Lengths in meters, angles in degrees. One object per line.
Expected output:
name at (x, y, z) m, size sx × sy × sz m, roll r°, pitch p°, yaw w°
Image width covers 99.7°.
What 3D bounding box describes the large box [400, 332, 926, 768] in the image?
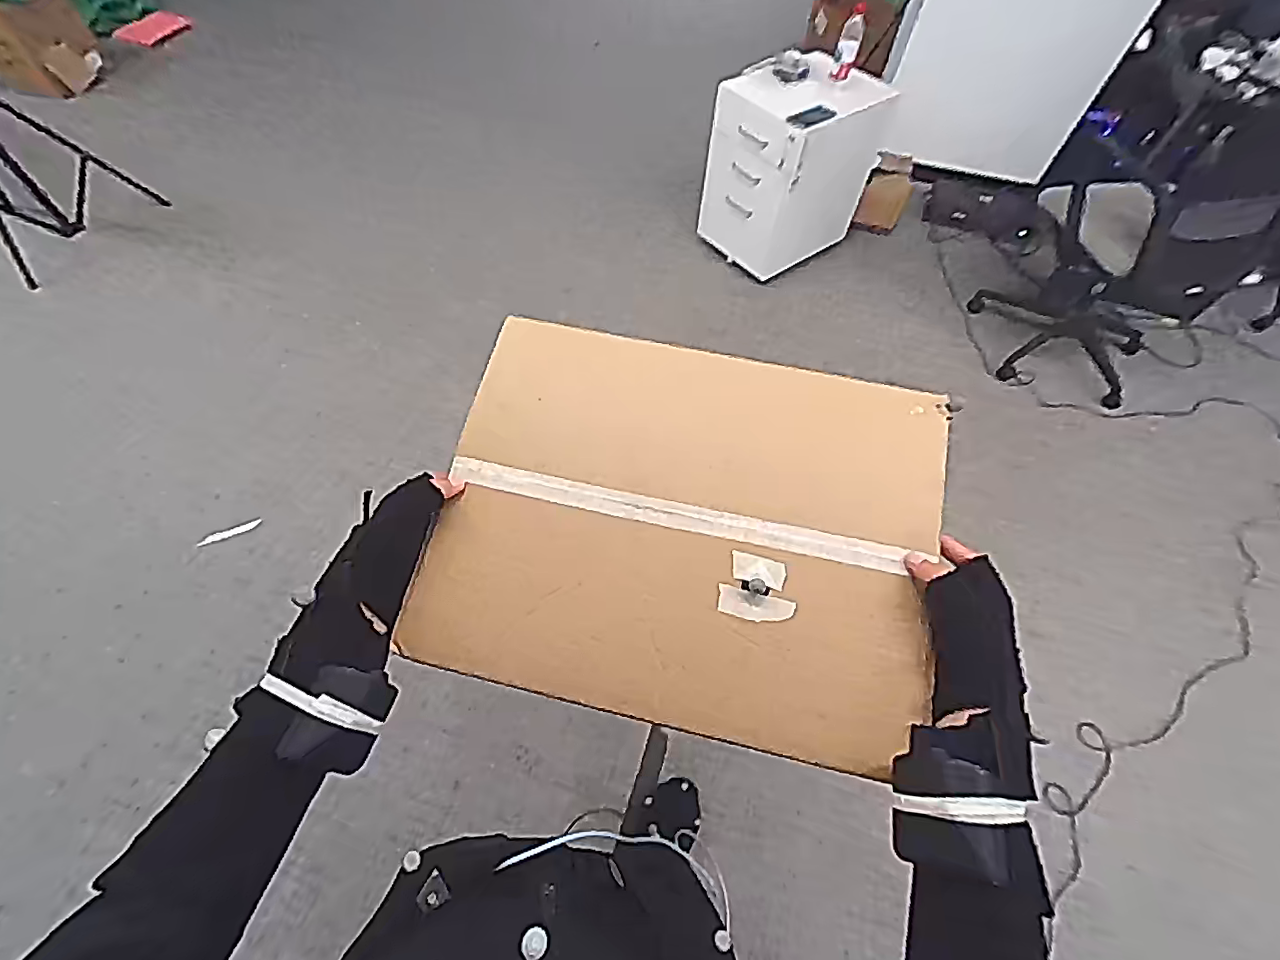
large box at (0.034, 0.081, 0.597) m, size 0.408 × 0.320 × 0.320 m, roll 12°, pitch 73°, yaw 5°
